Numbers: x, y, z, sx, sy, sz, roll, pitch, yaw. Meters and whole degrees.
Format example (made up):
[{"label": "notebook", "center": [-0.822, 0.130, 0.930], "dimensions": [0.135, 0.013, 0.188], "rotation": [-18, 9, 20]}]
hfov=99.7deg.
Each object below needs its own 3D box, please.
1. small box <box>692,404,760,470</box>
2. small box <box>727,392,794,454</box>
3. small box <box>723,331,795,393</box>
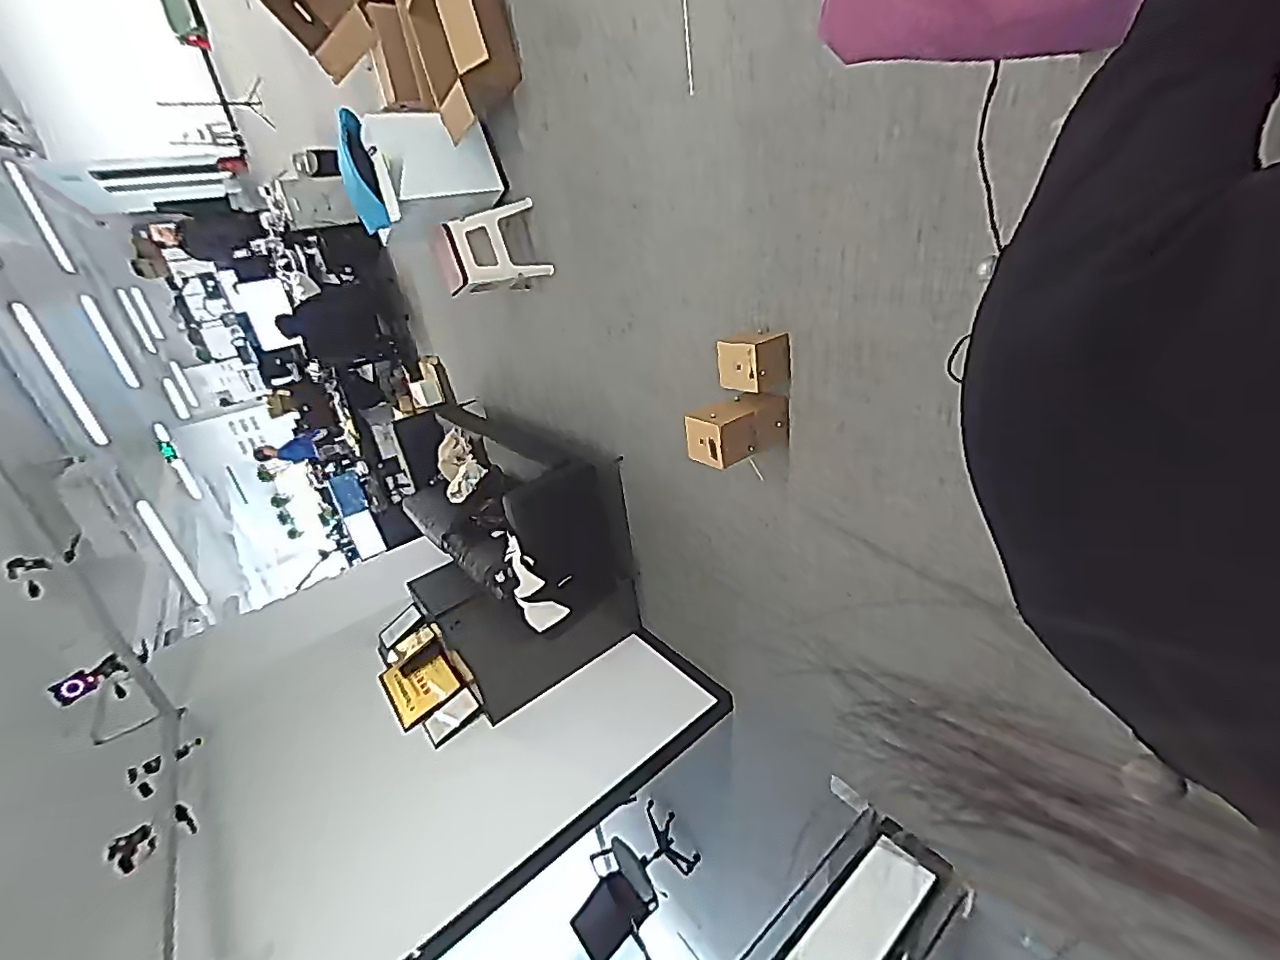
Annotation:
[{"label": "small box", "center": [0.308, -0.158, 1.903], "dimensions": [0.179, 0.176, 0.168], "rotation": [25, 132, 49]}, {"label": "small box", "center": [0.440, -0.216, 1.979], "dimensions": [0.179, 0.176, 0.168], "rotation": [26, 134, 47]}, {"label": "small box", "center": [0.414, -0.415, 1.871], "dimensions": [0.179, 0.176, 0.168], "rotation": [23, 131, 50]}]
